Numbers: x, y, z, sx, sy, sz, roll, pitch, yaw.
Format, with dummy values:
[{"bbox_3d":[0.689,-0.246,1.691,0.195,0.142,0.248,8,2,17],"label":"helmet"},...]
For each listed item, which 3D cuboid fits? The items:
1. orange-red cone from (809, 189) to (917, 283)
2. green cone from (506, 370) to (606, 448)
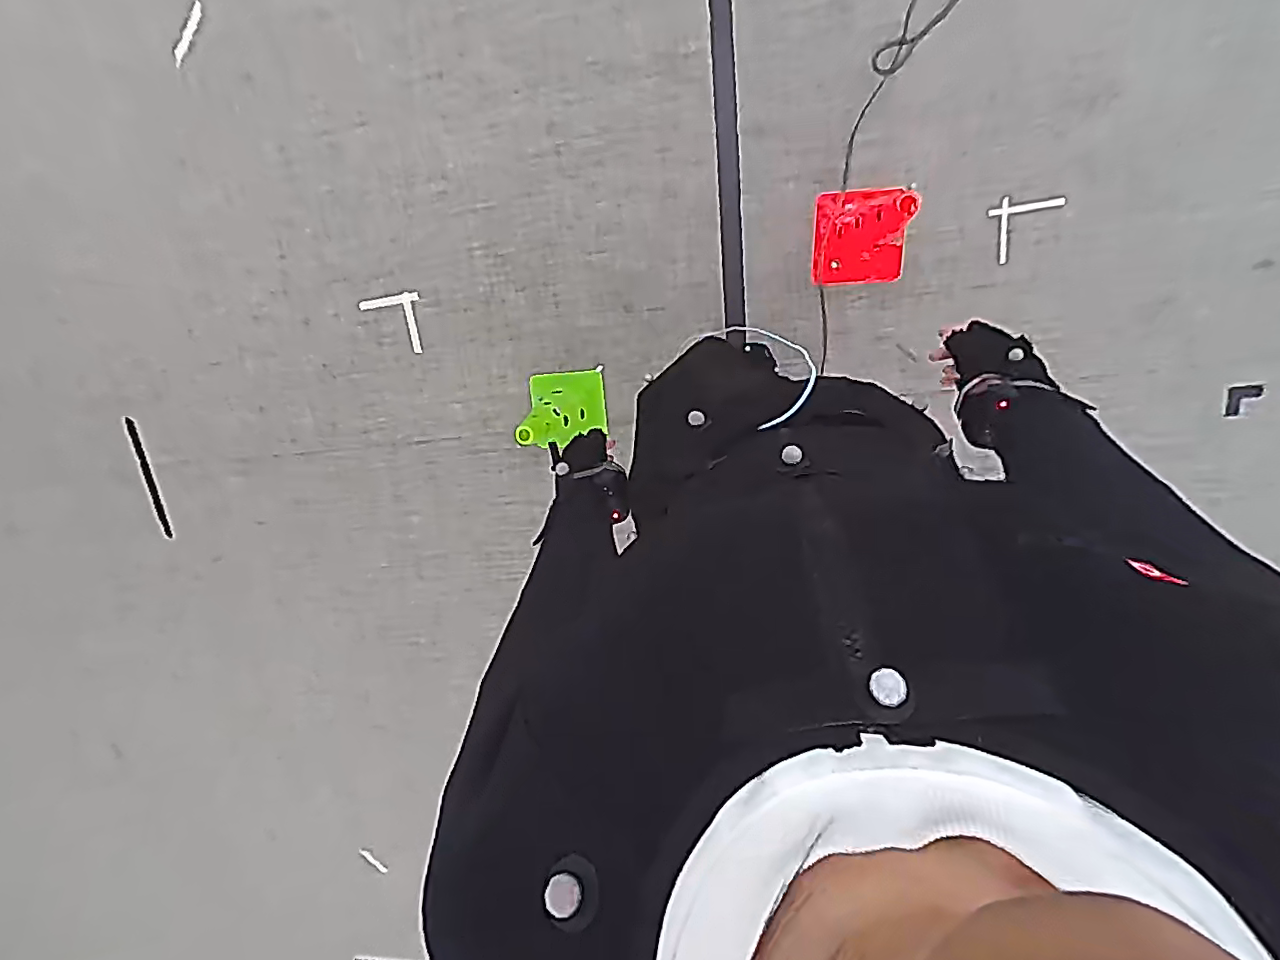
[{"bbox_3d":[0.477,-0.513,1.082,0.199,0.360,0.198,1,106,7],"label":"orange-red cone"},{"bbox_3d":[-0.222,-0.143,1.277,0.202,0.368,0.200,-3,104,10],"label":"green cone"}]
